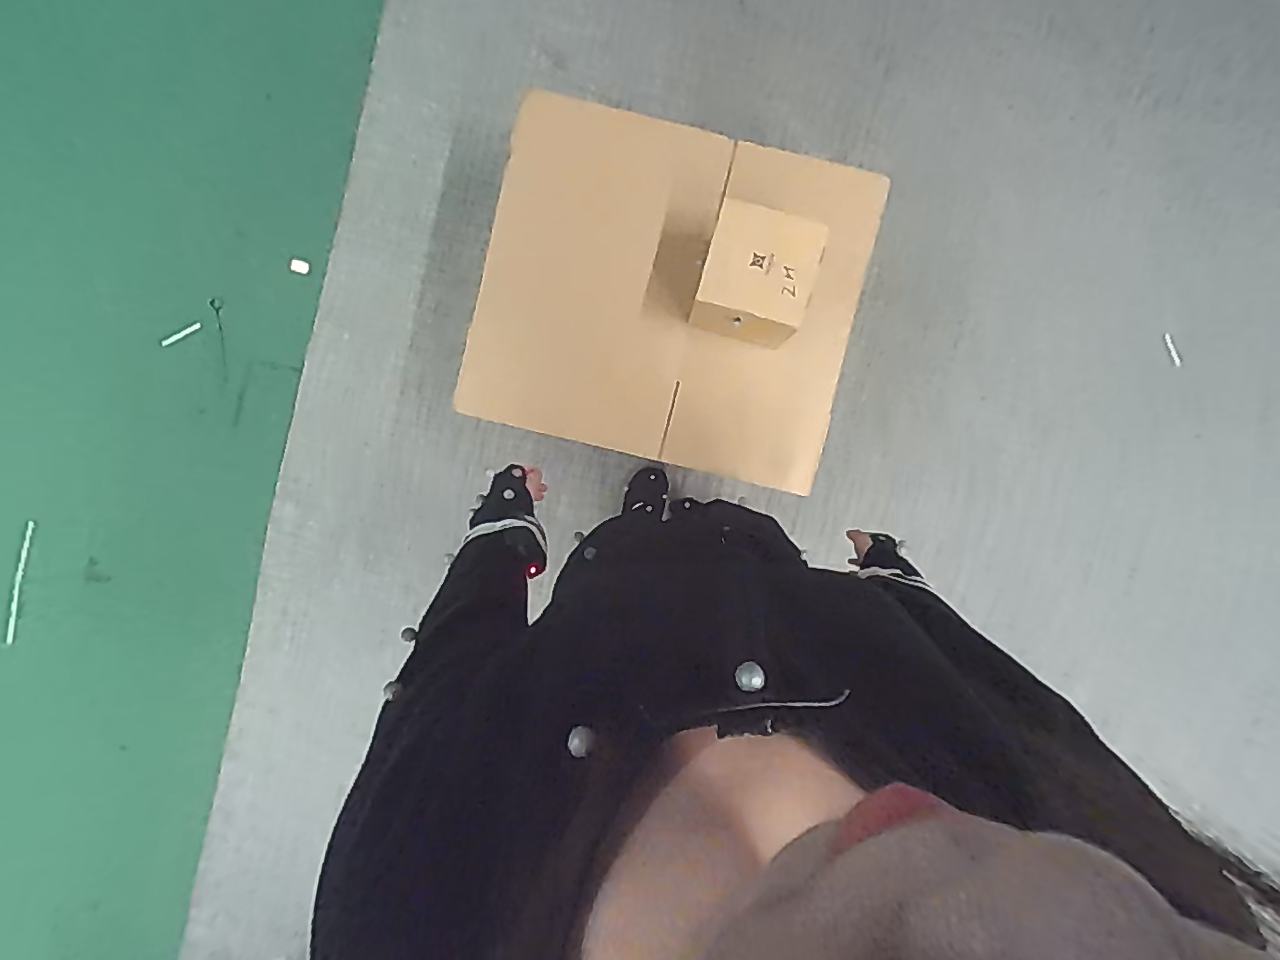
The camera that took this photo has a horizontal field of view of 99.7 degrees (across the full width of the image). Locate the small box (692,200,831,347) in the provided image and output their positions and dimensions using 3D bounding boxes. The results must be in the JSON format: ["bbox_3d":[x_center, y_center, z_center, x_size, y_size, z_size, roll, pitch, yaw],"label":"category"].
[{"bbox_3d":[0.194,-0.338,0.921,0.179,0.176,0.168,17,93,1],"label":"small box"}]
